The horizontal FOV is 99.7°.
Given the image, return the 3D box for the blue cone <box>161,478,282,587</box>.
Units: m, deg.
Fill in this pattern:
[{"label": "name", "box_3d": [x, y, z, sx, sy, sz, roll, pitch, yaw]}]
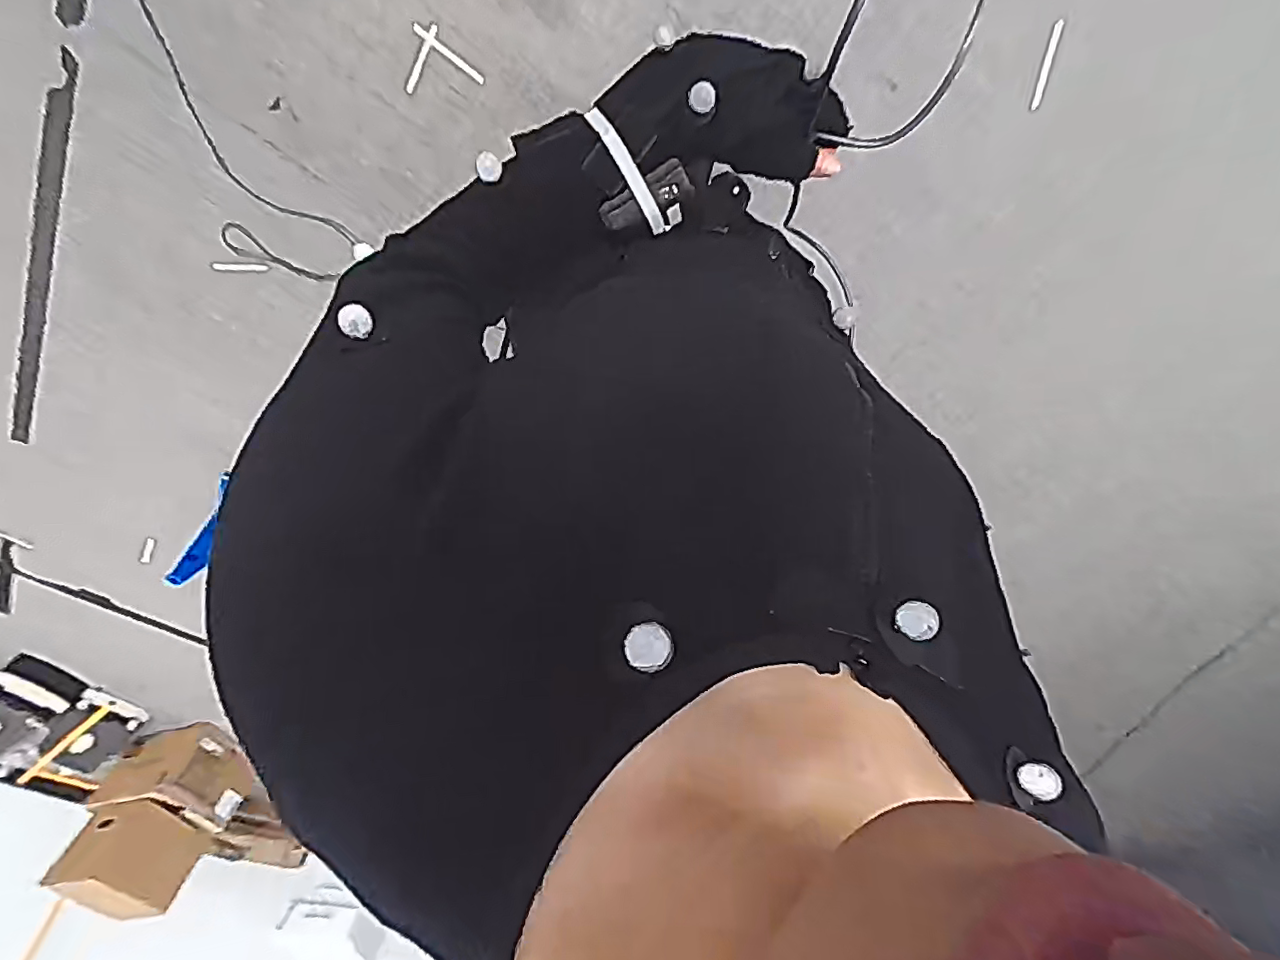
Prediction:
[{"label": "blue cone", "box_3d": [-1.311, 0.185, 1.673, 0.192, 0.380, 0.193, 28, 122, -16]}]
